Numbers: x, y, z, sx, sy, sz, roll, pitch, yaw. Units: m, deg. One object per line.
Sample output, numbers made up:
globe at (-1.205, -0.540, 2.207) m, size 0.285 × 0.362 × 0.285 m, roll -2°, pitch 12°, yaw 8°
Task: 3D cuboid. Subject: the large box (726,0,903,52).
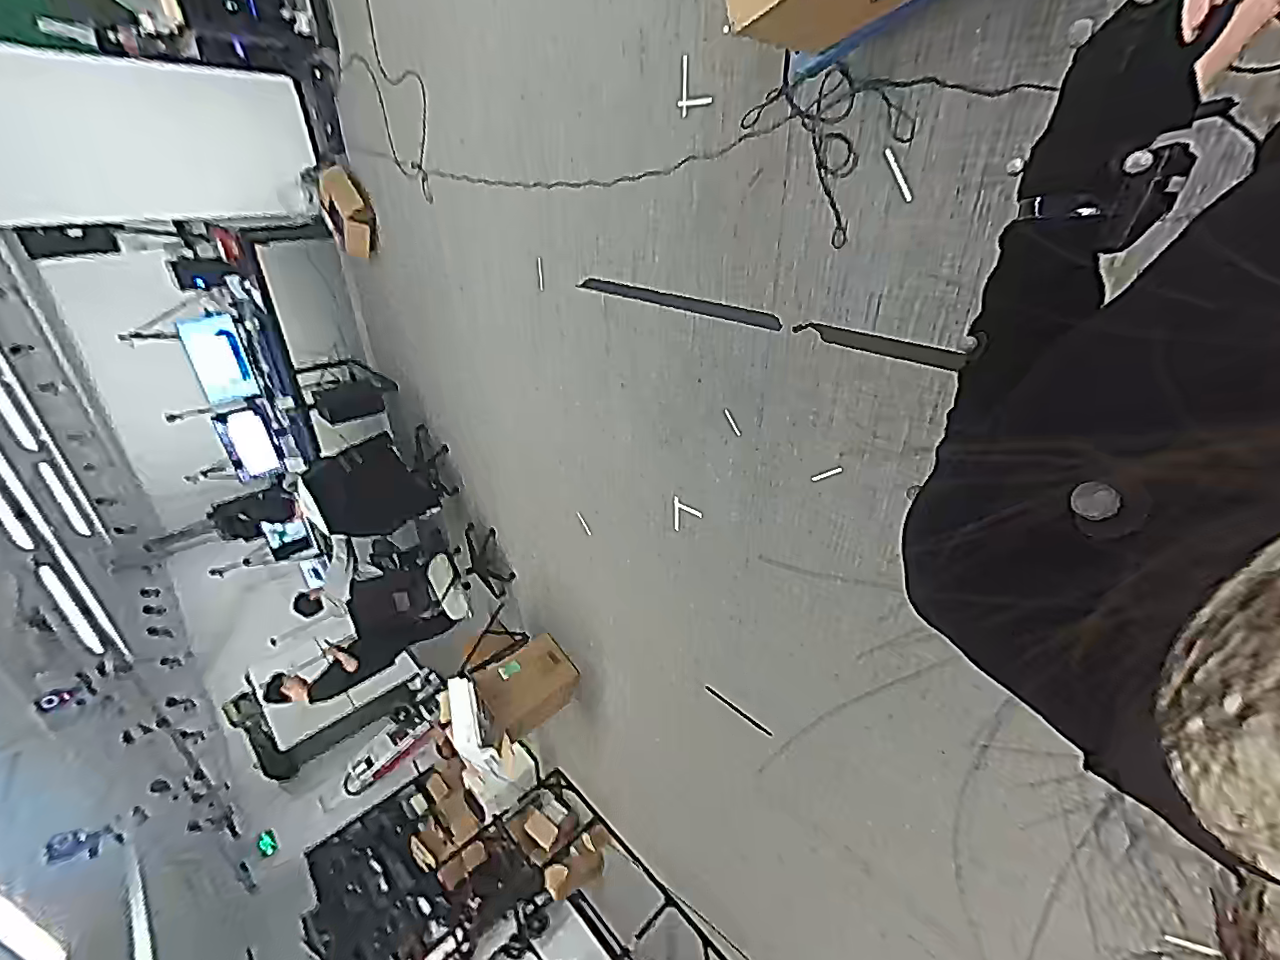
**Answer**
large box at (0.376, -1.019, 0.917) m, size 0.408 × 0.320 × 0.320 m, roll 5°, pitch 114°, yaw 49°
